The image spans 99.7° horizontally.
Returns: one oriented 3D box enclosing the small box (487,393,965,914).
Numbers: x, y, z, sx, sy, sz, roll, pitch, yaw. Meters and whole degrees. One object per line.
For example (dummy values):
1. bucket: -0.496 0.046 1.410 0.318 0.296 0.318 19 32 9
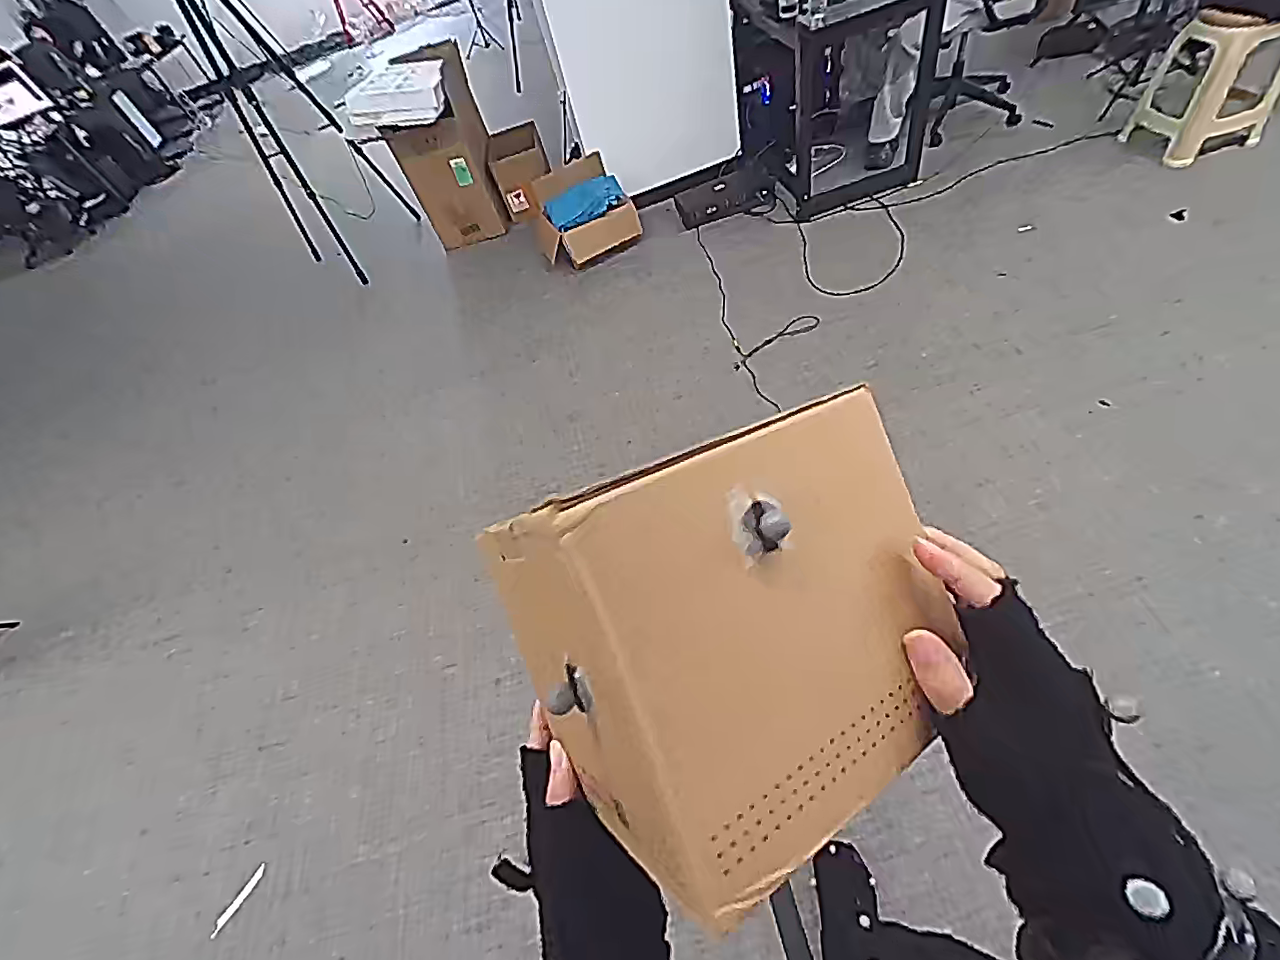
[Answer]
1. small box: 0.037 0.075 0.300 0.179 0.168 0.176 -22 91 -25
